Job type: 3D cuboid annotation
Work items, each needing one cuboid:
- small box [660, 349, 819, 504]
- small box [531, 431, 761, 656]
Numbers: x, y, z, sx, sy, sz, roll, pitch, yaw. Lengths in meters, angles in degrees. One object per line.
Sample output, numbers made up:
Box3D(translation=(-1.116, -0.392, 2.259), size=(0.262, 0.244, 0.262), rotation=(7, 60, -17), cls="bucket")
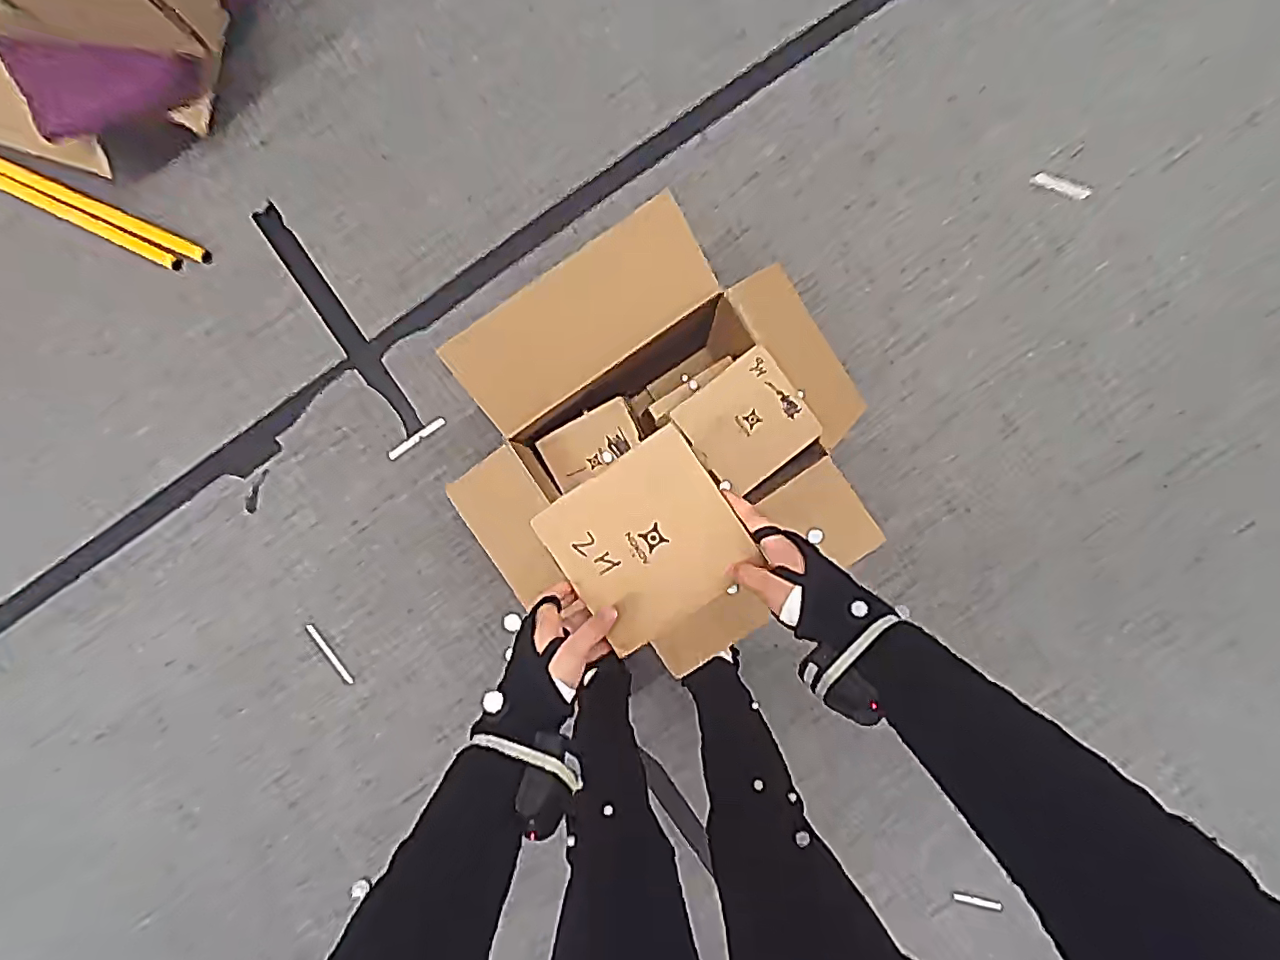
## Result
Box3D(translation=(0.145, -0.078, 0.868), size=(0.179, 0.176, 0.168), rotation=(-37, 94, -2), cls="small box")
Box3D(translation=(0.009, 0.060, 0.613), size=(0.179, 0.176, 0.168), rotation=(-34, 89, 5), cls="small box")
